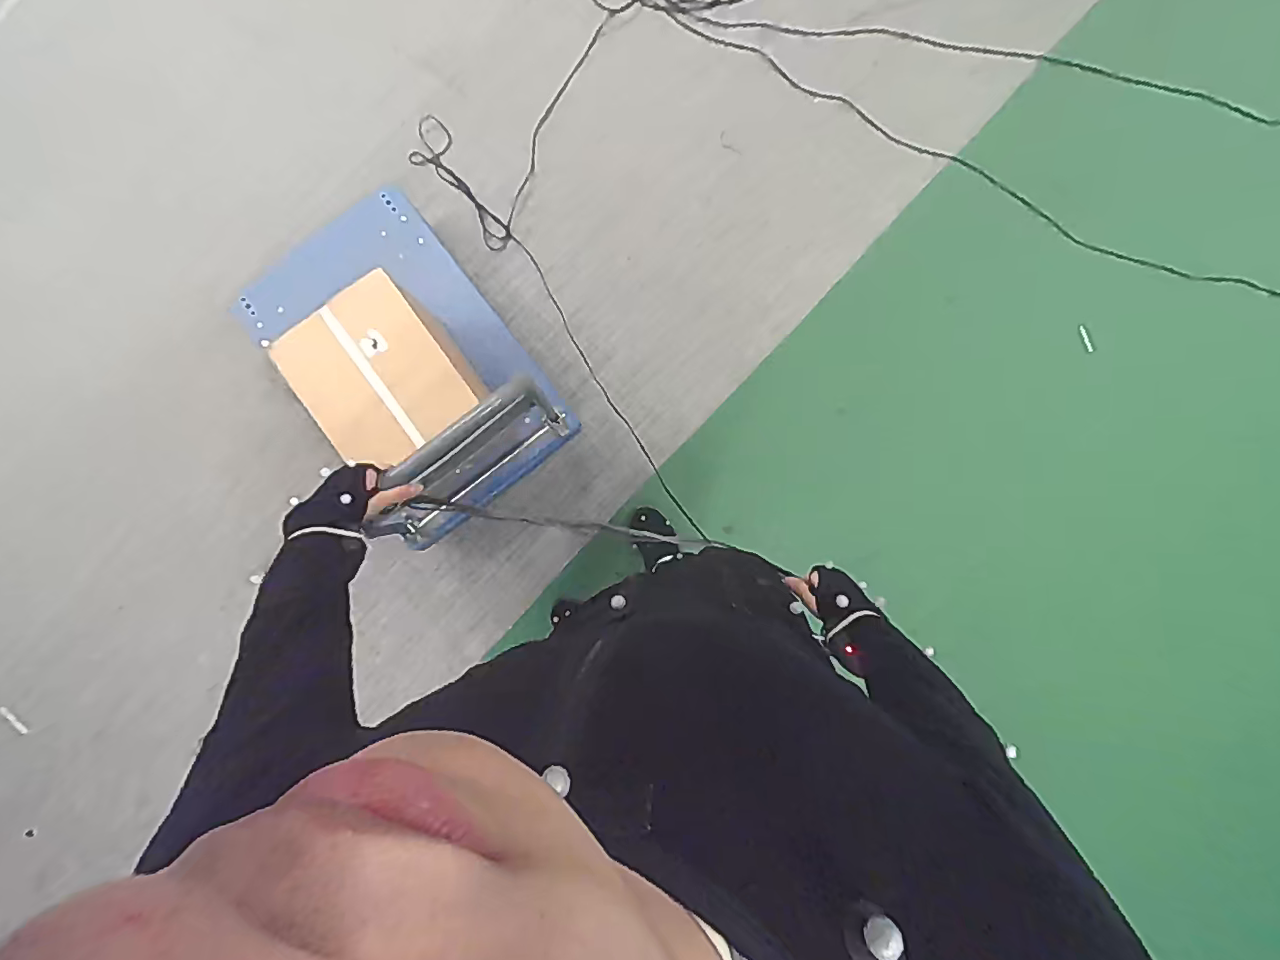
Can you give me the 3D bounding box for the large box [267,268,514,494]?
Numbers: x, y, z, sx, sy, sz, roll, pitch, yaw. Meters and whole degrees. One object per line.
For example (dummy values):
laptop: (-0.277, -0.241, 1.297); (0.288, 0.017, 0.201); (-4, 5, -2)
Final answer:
large box: (-0.575, -0.214, 1.324); (0.320, 0.320, 0.408); (-36, 87, -3)
